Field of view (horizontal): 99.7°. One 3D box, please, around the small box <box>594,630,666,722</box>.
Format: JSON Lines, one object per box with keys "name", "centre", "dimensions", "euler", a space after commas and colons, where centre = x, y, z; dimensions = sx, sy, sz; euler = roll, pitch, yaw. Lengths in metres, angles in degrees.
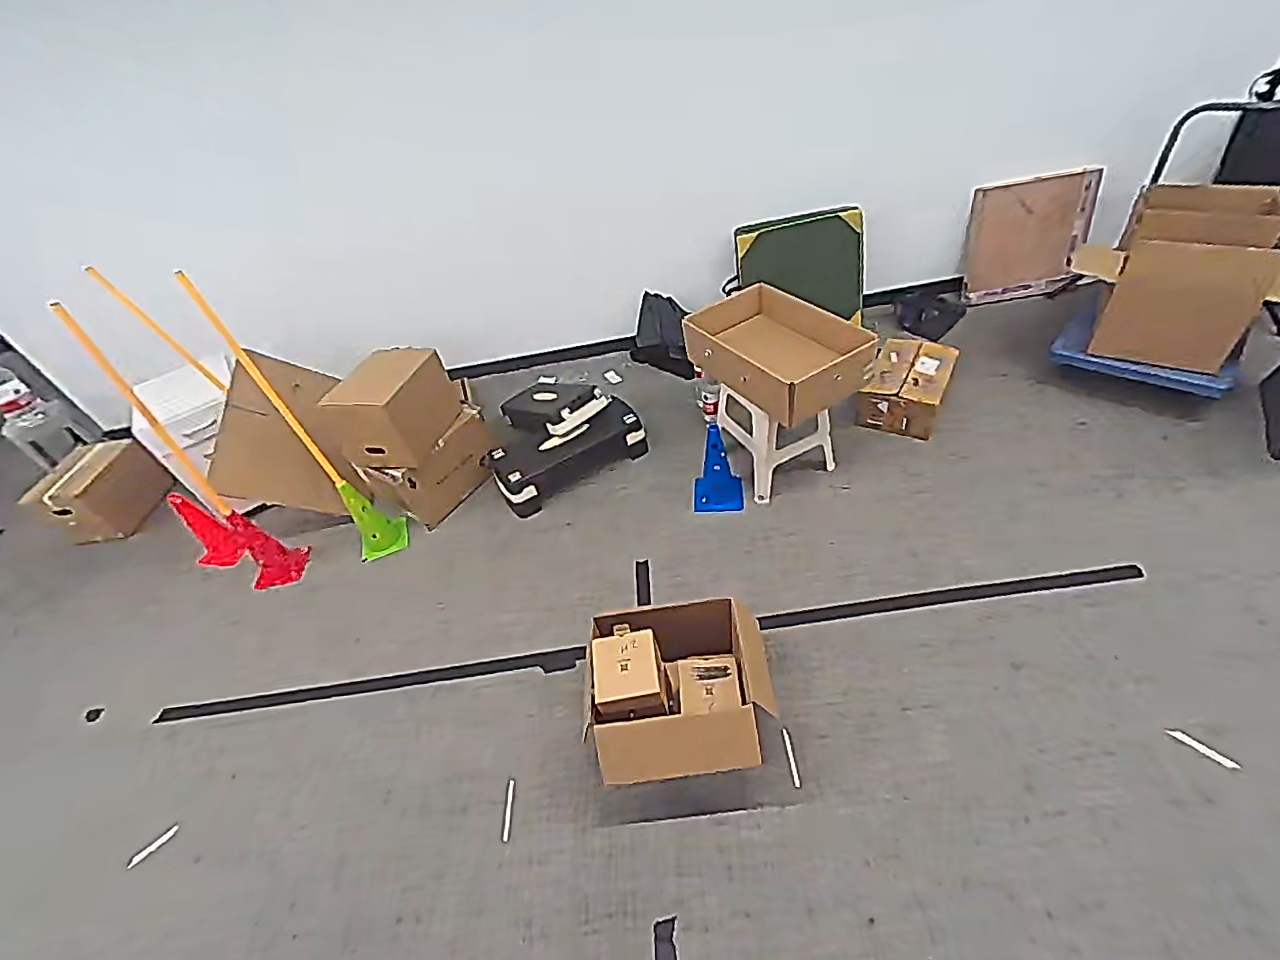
{"name": "small box", "centre": [-0.026, 0.528, 1.444], "dimensions": [0.168, 0.176, 0.179], "euler": [-9, 44, 3]}
